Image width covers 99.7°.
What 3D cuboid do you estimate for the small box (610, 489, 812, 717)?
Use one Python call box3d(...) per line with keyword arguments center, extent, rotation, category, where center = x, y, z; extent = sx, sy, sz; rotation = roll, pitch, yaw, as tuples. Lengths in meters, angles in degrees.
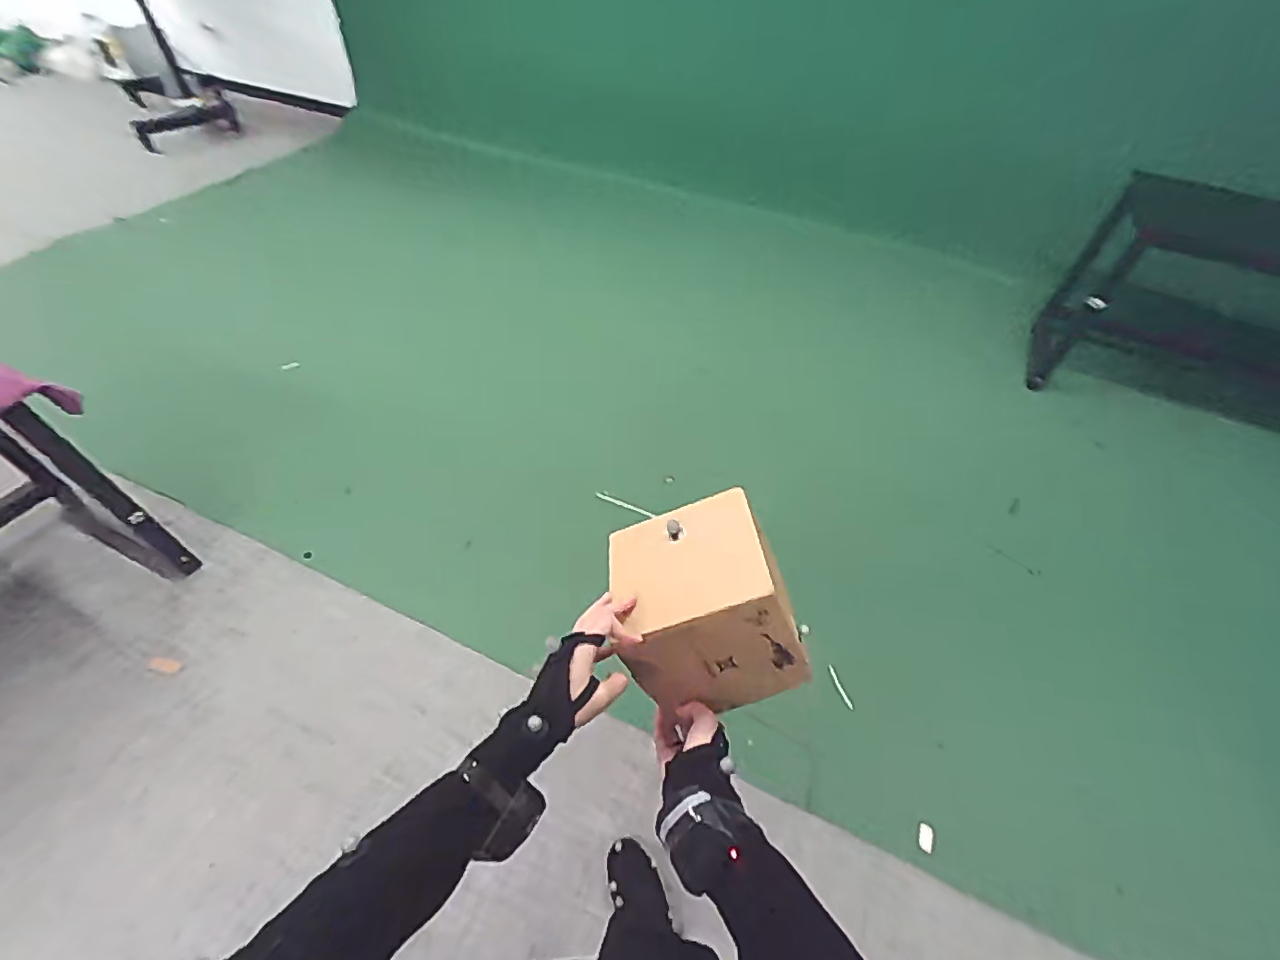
box3d(center=(0.077, 0.140, 0.627), extent=(0.179, 0.168, 0.176), rotation=(-20, 36, 12), category="small box")
